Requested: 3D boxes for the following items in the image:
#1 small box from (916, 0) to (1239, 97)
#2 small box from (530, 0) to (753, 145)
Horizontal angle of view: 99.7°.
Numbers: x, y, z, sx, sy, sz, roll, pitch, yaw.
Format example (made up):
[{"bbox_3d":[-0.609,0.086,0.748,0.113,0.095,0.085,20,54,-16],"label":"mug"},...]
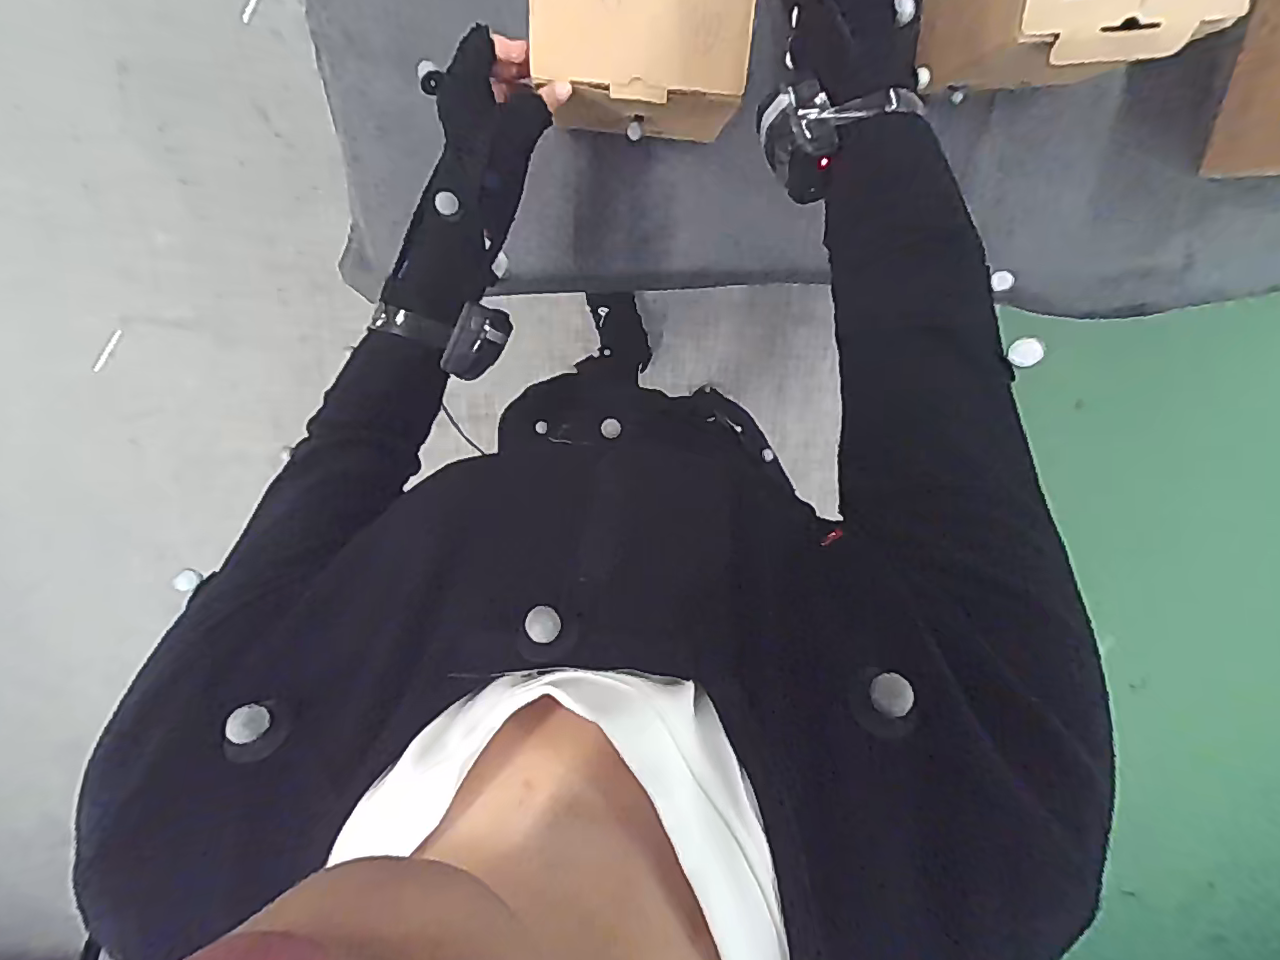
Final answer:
[{"bbox_3d":[0.352,-0.438,0.446,0.168,0.176,0.179,-4,112,1],"label":"small box"},{"bbox_3d":[0.003,-0.400,0.458,0.168,0.176,0.179,3,113,-2],"label":"small box"}]
